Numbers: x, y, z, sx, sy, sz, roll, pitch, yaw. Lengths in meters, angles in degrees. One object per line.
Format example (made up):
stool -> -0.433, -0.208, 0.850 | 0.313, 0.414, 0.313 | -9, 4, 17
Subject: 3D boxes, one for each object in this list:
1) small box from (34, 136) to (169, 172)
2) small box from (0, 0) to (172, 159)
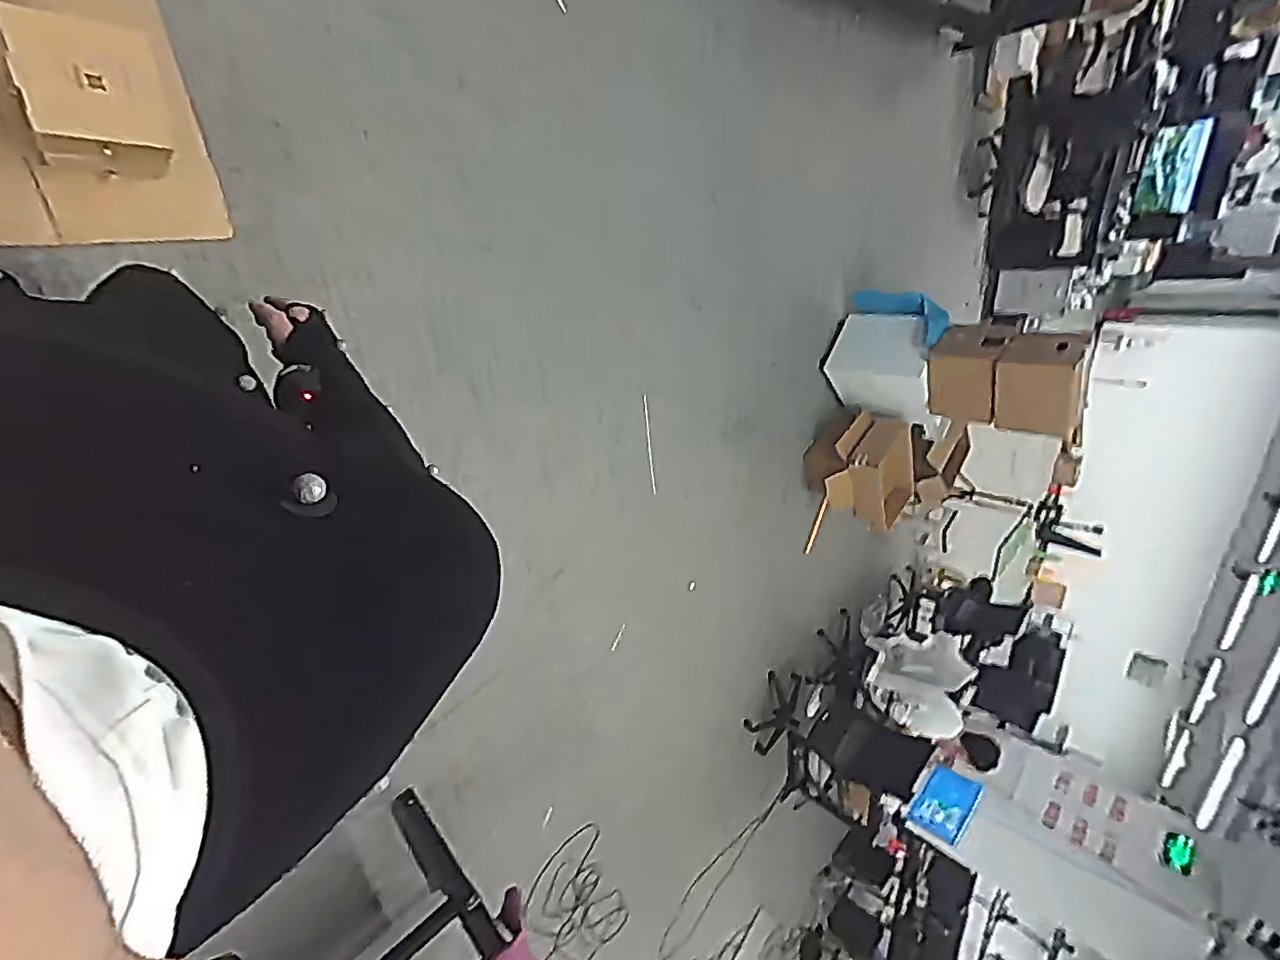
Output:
small box -> -1.029, -0.687, 1.013 | 0.179, 0.176, 0.168 | -20, 117, -40
small box -> -0.917, -0.650, 0.899 | 0.179, 0.176, 0.168 | -17, 116, -40
